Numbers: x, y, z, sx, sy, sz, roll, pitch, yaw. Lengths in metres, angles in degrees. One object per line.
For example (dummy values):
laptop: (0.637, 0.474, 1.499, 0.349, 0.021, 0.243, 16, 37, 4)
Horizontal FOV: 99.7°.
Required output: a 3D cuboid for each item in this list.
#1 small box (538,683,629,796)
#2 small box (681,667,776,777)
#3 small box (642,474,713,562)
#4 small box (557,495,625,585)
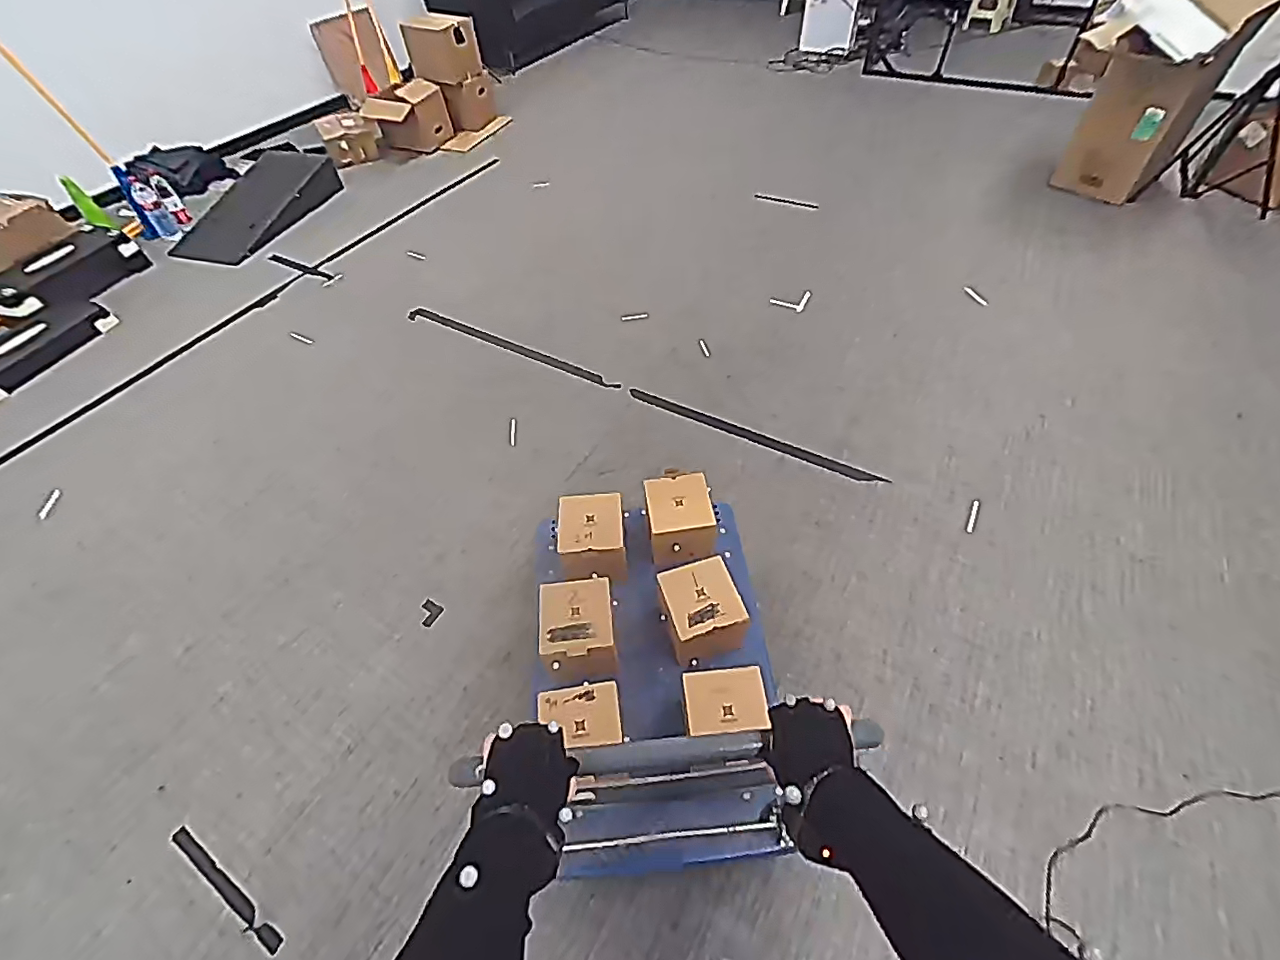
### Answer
small box: (-0.117, 0.551, 1.137, 0.168, 0.176, 0.179, -8, 52, -4)
small box: (0.180, 0.519, 1.150, 0.168, 0.176, 0.179, -5, 50, -2)
small box: (0.100, 0.112, 1.480, 0.168, 0.176, 0.179, -8, 51, -3)
small box: (-0.127, 0.162, 1.449, 0.168, 0.176, 0.179, -4, 52, 0)
